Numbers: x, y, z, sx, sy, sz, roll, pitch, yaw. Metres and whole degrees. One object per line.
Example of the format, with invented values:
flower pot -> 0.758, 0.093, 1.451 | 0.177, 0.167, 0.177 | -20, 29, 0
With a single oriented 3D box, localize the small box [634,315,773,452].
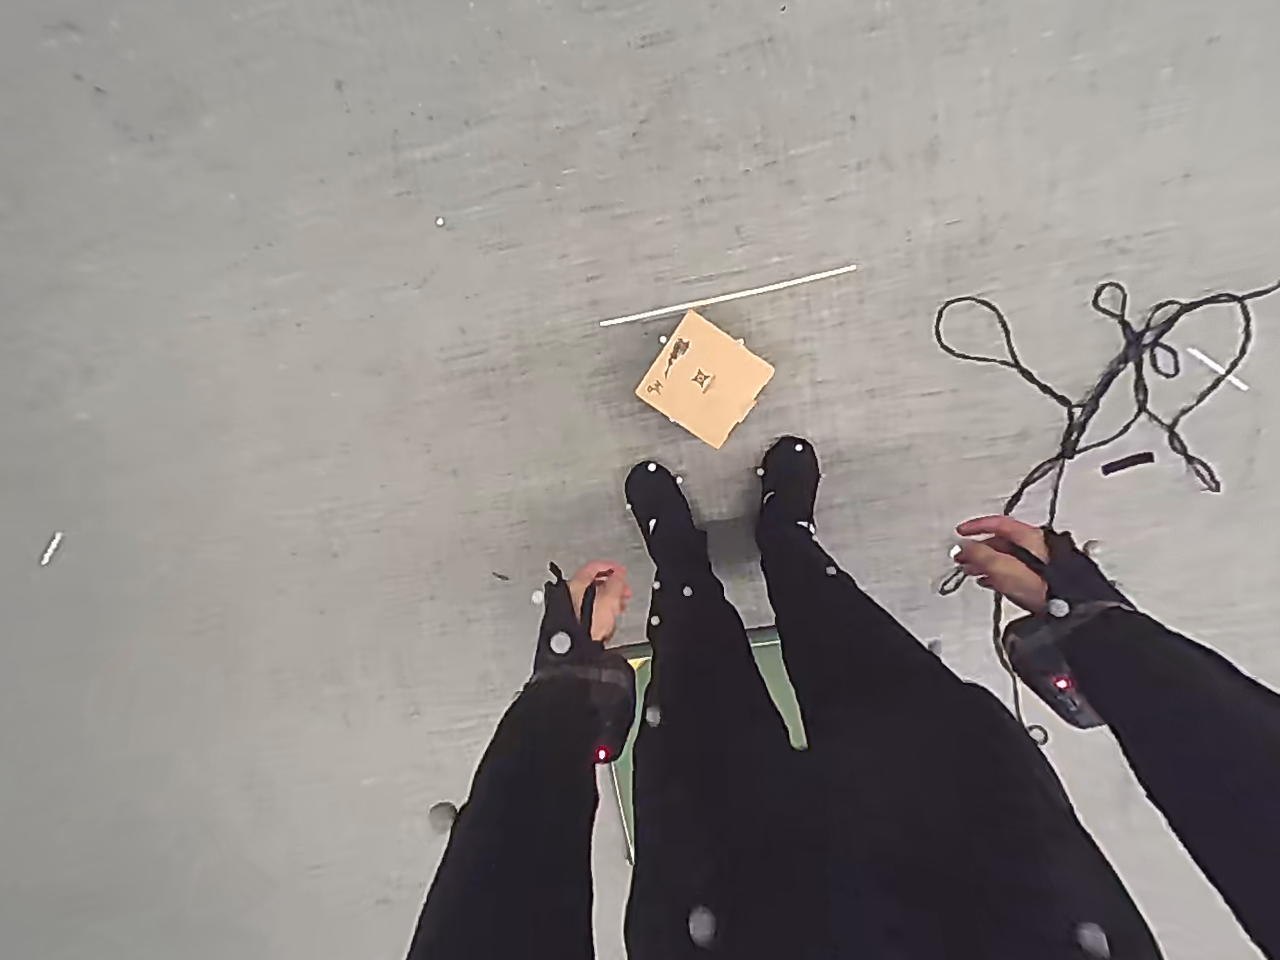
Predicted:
small box -> 0.108, -0.178, 0.972 | 0.179, 0.176, 0.168 | 34, 103, -5
